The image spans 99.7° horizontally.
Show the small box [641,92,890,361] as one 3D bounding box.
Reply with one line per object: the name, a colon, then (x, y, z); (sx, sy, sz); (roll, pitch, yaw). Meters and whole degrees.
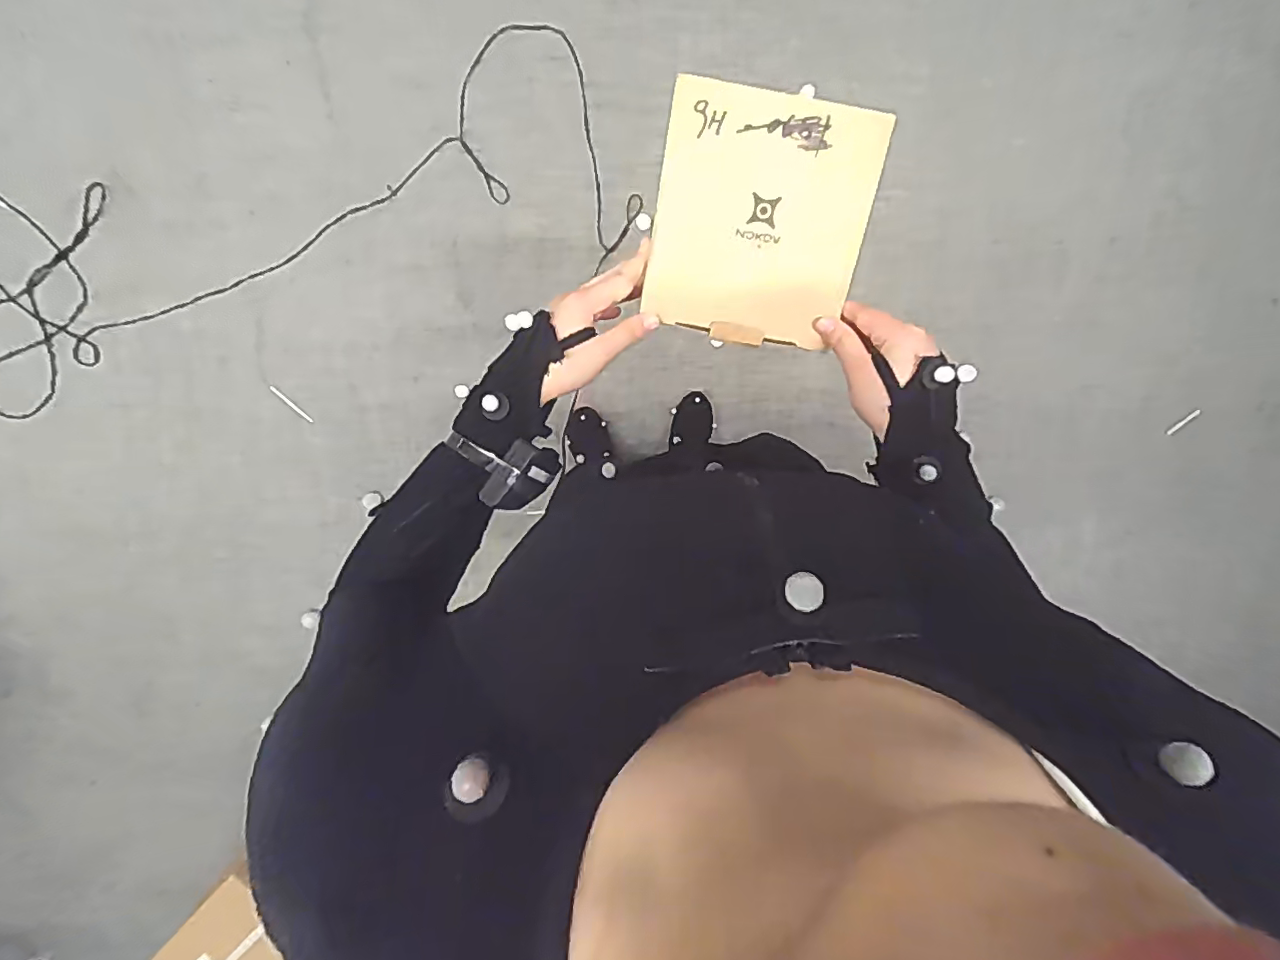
small box: (0.097, -0.223, 0.507); (0.168, 0.176, 0.179); (9, 111, -3)
